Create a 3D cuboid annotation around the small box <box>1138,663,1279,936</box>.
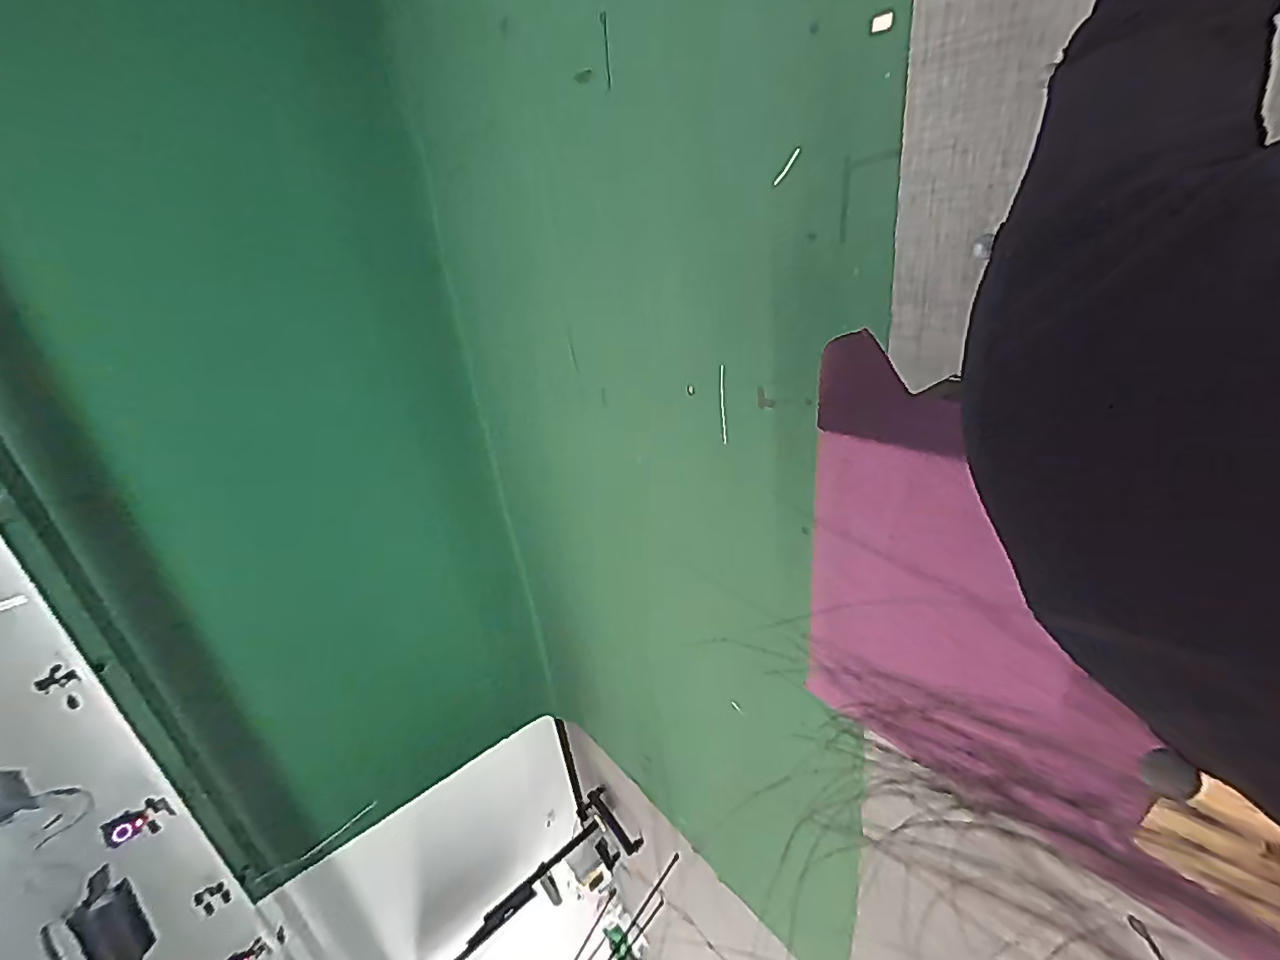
[{"bbox_3d":[0.655,0.327,0.541,0.168,0.176,0.179,27,130,44],"label":"small box"}]
